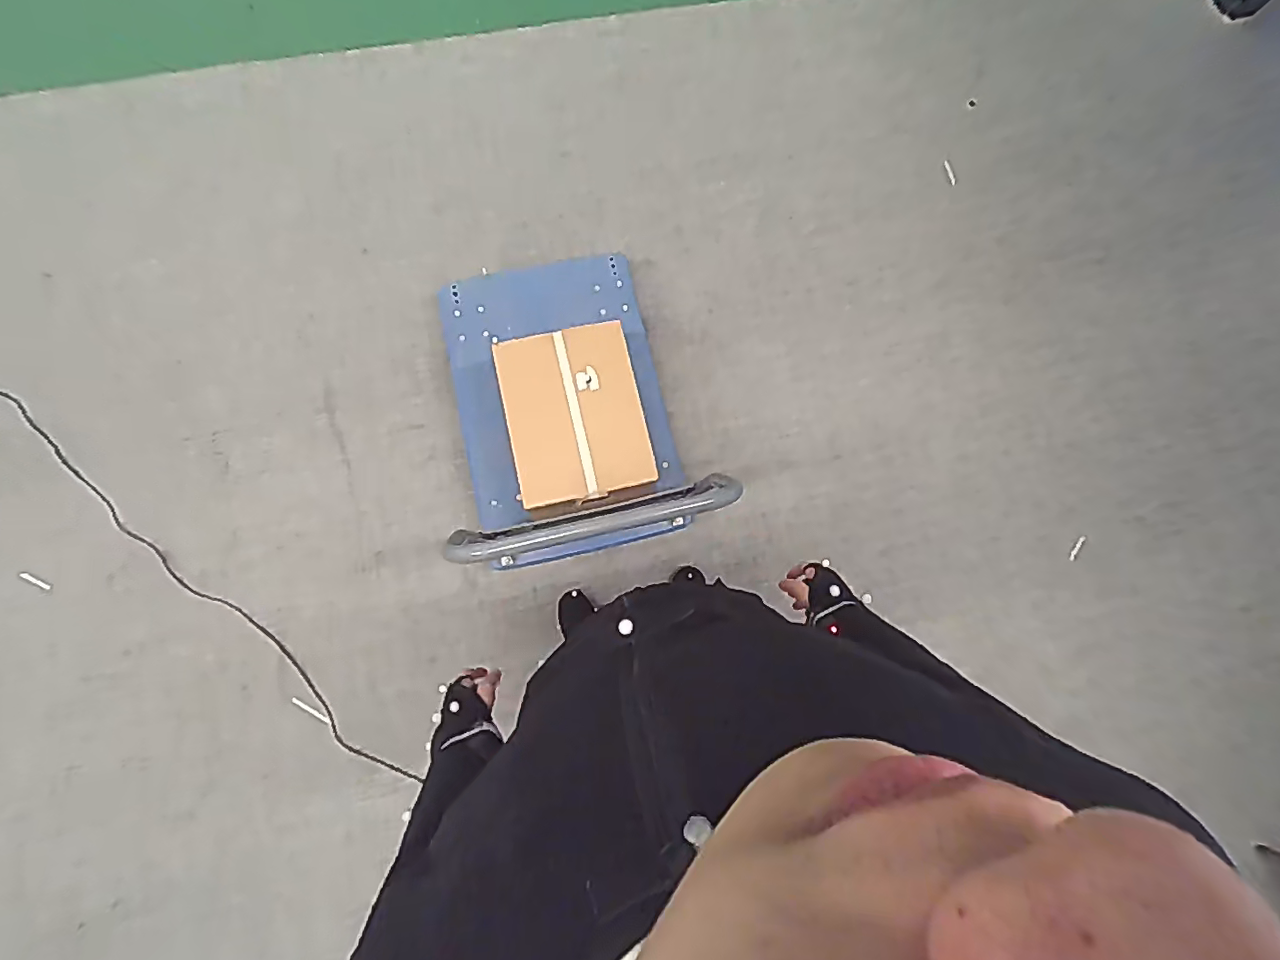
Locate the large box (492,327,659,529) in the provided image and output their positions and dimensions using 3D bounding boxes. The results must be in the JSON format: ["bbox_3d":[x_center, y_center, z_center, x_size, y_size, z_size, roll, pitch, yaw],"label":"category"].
[{"bbox_3d":[-0.159,-0.116,1.394,0.320,0.320,0.408,-13,79,-7],"label":"large box"}]
